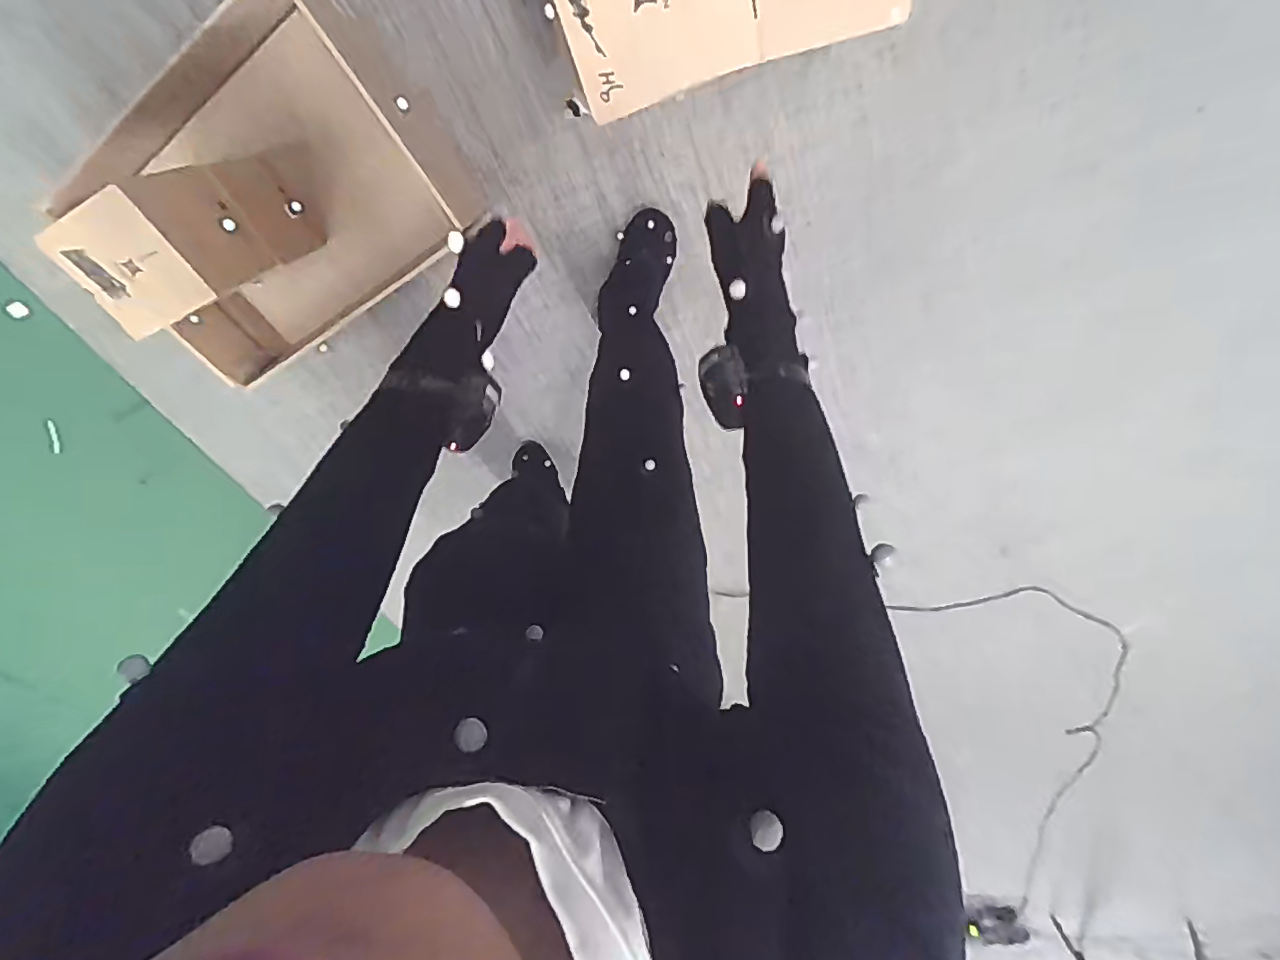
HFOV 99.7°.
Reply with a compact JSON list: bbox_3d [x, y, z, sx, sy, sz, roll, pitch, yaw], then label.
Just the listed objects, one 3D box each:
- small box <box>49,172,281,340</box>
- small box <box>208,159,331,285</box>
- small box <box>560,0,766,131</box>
[{"bbox_3d":[-0.713,-0.349,0.837,0.179,0.176,0.168,-20,124,14],"label":"small box"},{"bbox_3d":[-0.705,-0.448,0.969,0.179,0.176,0.168,-19,124,14],"label":"small box"},{"bbox_3d":[0.017,-0.491,0.557,0.179,0.176,0.168,-14,127,13],"label":"small box"}]
